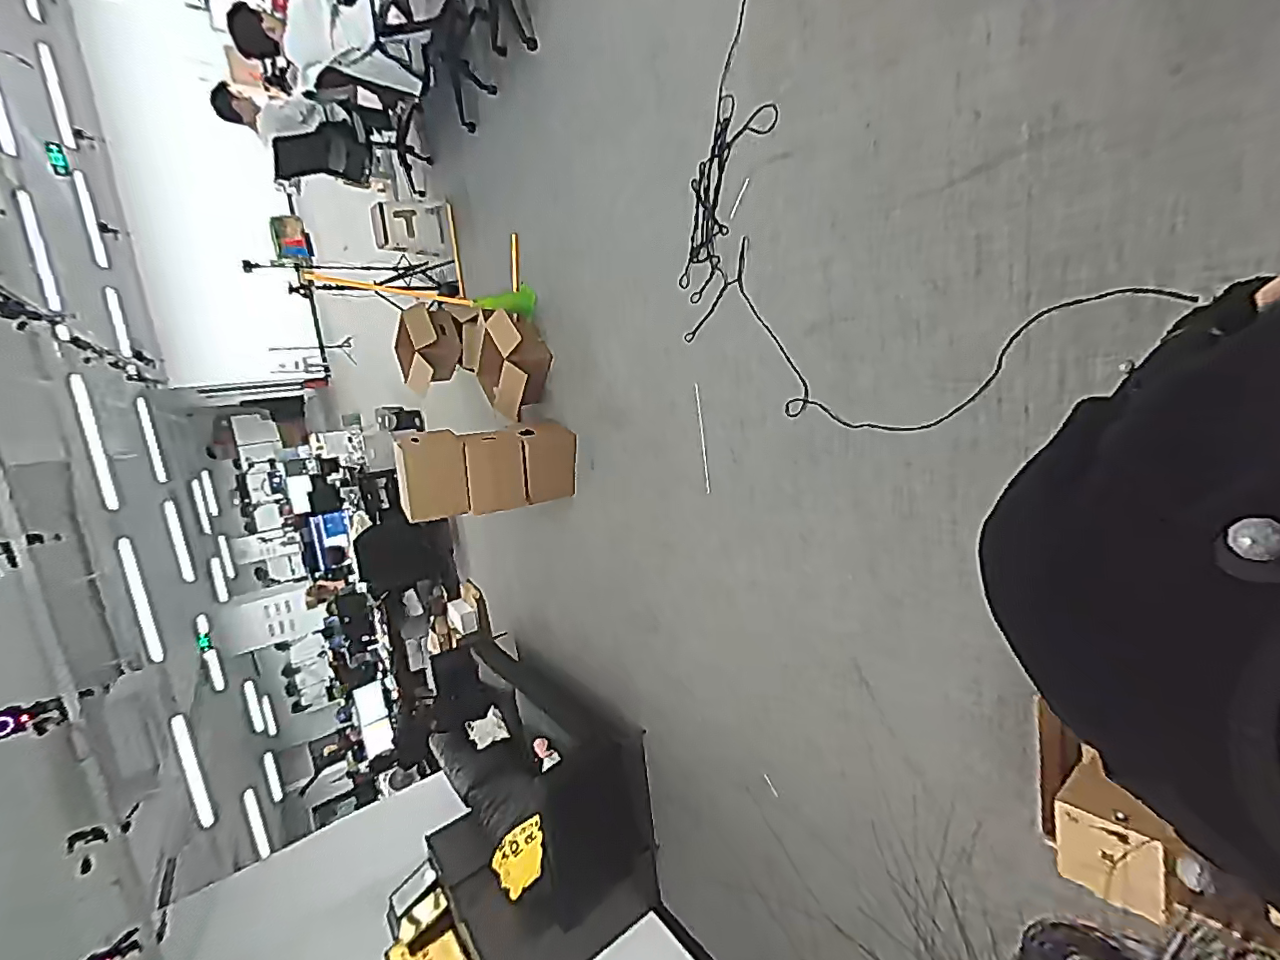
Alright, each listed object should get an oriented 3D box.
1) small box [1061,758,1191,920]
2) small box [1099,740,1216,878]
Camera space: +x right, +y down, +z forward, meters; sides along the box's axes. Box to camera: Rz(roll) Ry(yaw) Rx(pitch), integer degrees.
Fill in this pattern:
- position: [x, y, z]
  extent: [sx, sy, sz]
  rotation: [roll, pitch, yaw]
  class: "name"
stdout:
- position: [0.982, 0.710, 1.092]
  extent: [0.168, 0.176, 0.179]
  rotation: [2, 103, 54]
  class: "small box"
- position: [1.121, 0.703, 1.182]
  extent: [0.179, 0.176, 0.168]
  rotation: [-5, 96, 55]
  class: "small box"
